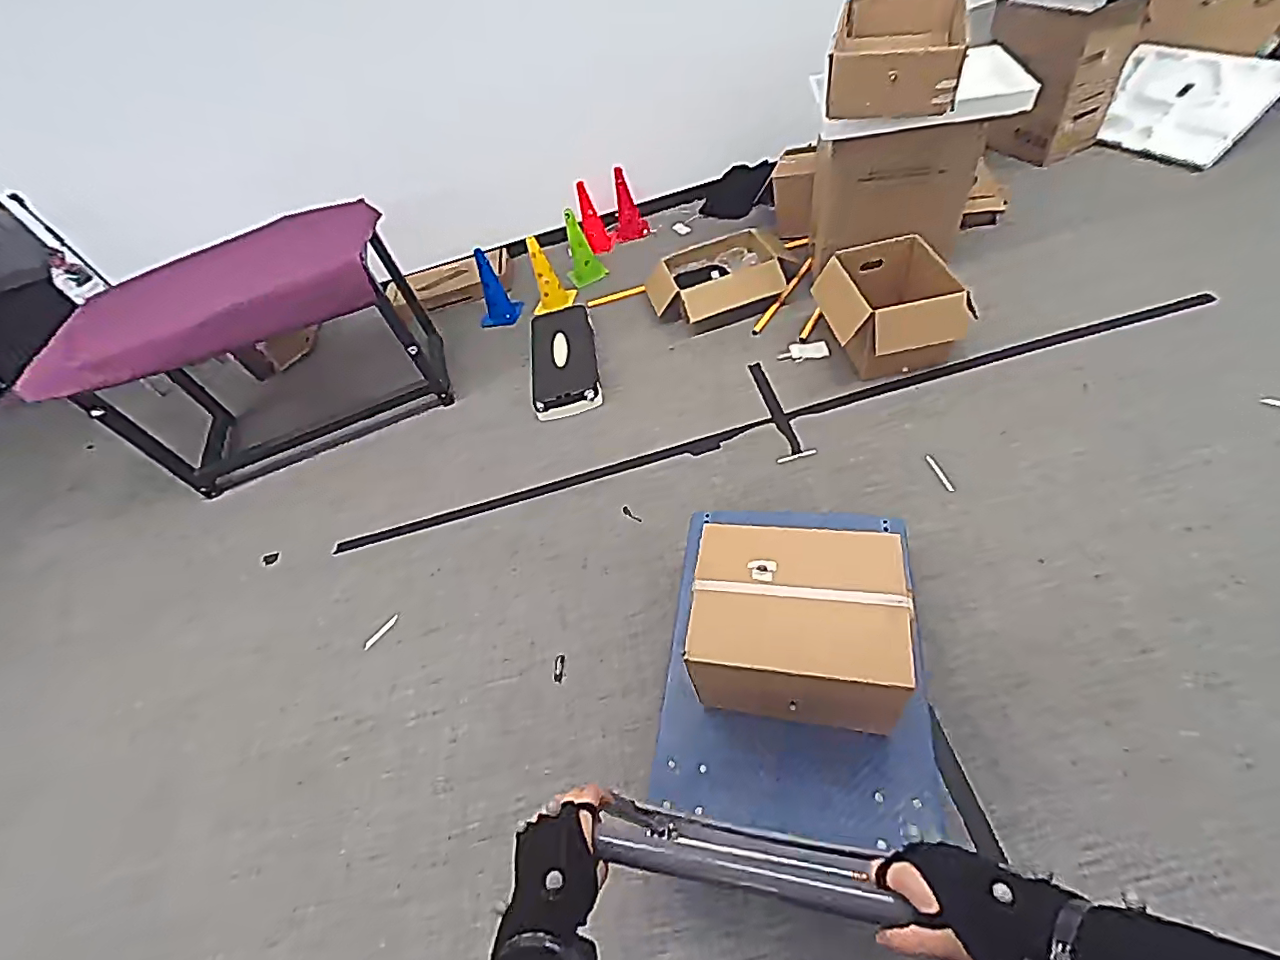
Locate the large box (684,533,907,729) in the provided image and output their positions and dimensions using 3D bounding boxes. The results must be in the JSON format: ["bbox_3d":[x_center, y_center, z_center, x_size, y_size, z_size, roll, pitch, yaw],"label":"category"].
[{"bbox_3d":[0.336,0.331,1.194,0.408,0.320,0.320,1,51,17],"label":"large box"}]
